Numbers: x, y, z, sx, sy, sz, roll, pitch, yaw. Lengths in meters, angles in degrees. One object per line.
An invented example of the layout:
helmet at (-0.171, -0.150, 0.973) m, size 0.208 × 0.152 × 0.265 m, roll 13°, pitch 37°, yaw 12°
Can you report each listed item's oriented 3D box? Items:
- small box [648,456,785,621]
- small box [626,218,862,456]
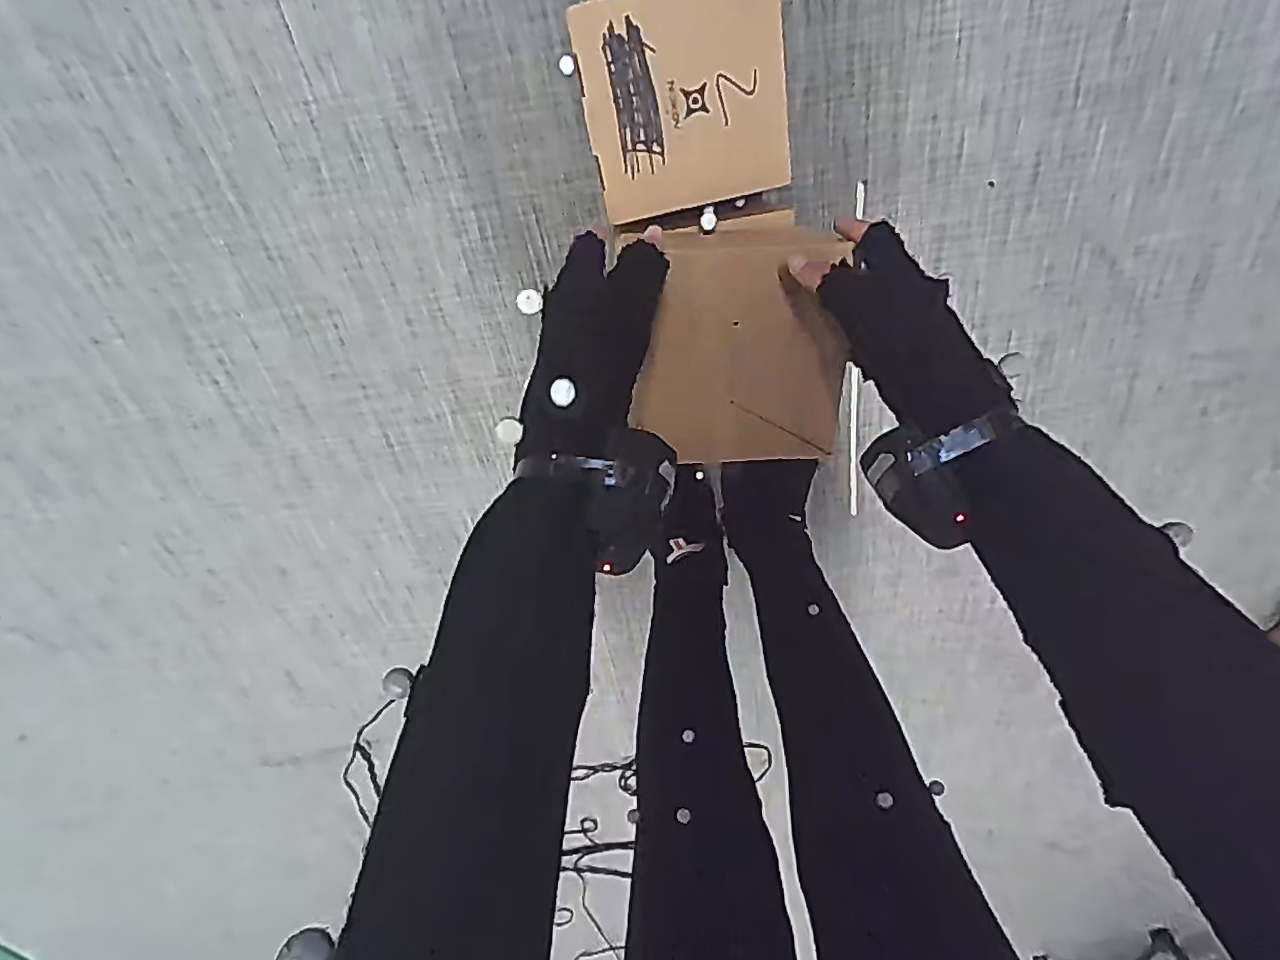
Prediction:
small box at (0.111, 0.086, 0.835) m, size 0.168 × 0.176 × 0.179 m, roll -10°, pitch 122°, yaw -5°
small box at (0.080, -0.131, 0.480) m, size 0.179 × 0.176 × 0.168 m, roll -2°, pitch 120°, yaw 0°
